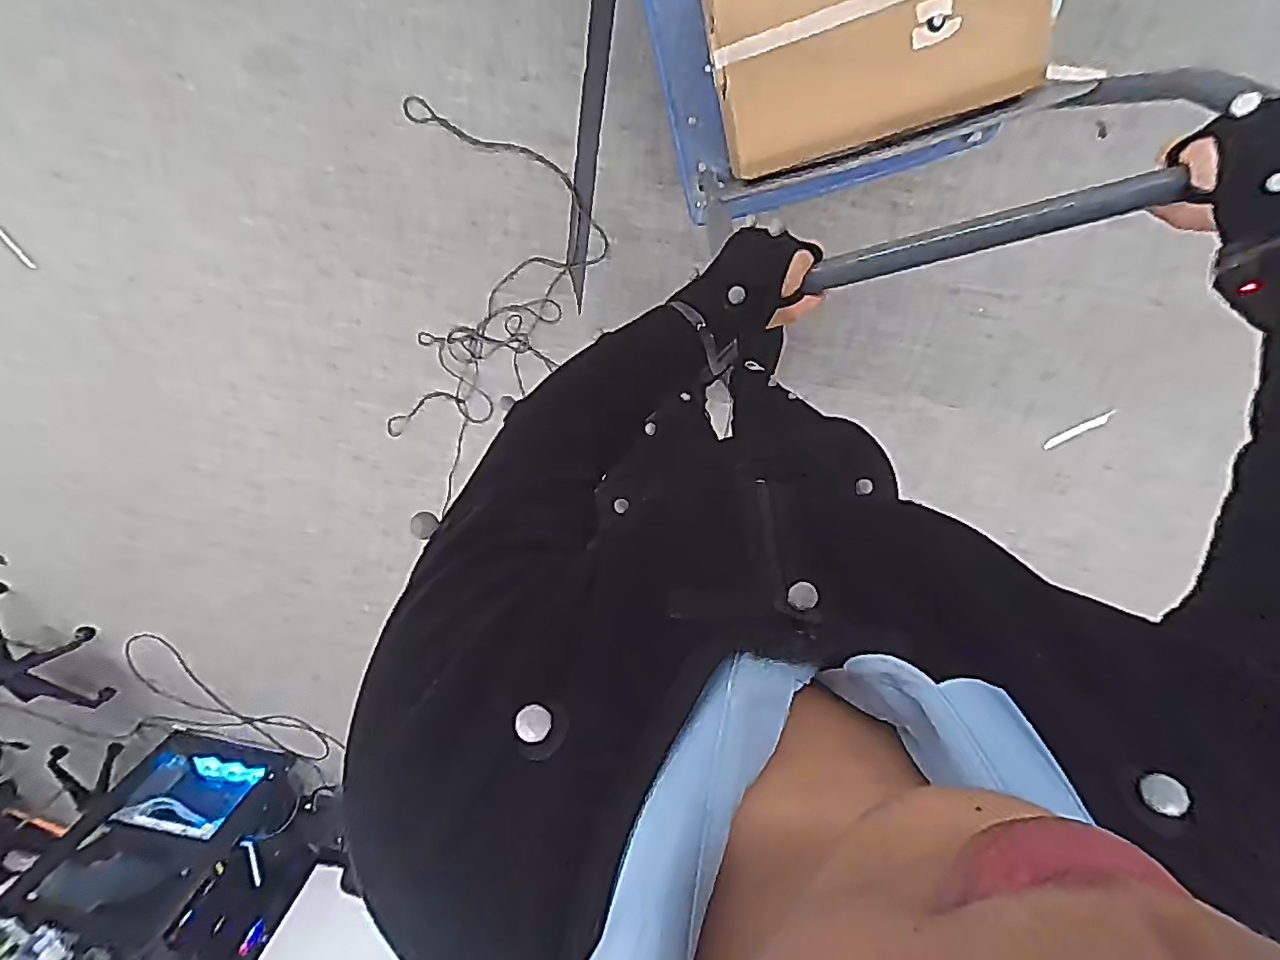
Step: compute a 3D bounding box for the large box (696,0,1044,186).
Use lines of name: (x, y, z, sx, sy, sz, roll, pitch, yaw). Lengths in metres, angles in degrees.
large box: (0.313, -0.677, 0.823, 0.408, 0.320, 0.320, -12, 117, 12)
